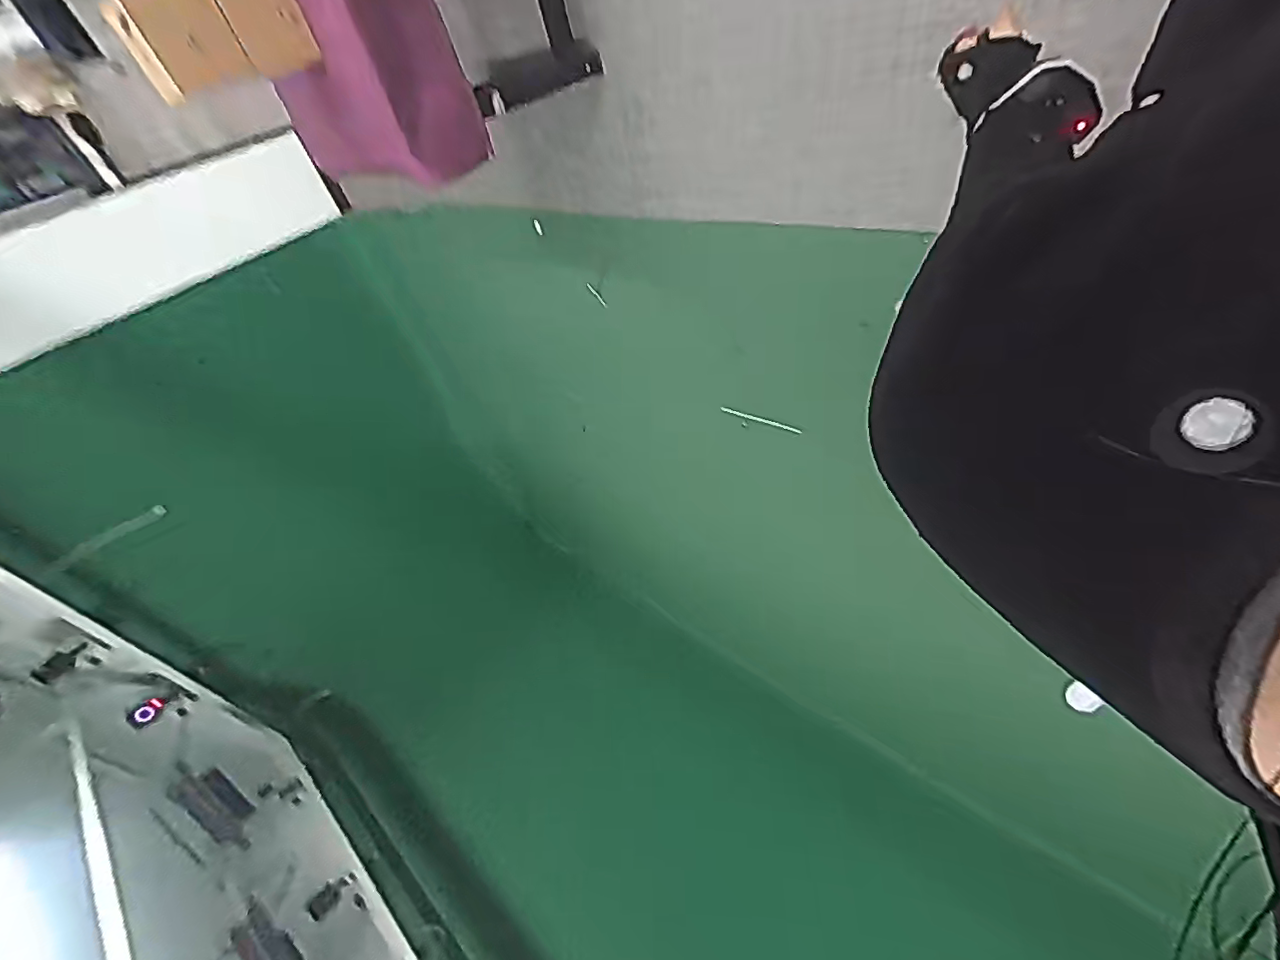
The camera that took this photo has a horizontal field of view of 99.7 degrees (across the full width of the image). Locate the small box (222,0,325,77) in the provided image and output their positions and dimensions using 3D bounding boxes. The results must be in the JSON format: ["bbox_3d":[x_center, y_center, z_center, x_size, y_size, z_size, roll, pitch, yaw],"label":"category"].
[{"bbox_3d":[-0.884,-1.071,1.256,0.168,0.176,0.179,22,144,38],"label":"small box"}]

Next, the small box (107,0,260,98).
[{"bbox_3d":[-0.989,-0.969,1.180,0.168,0.176,0.179,22,145,38],"label":"small box"}]
